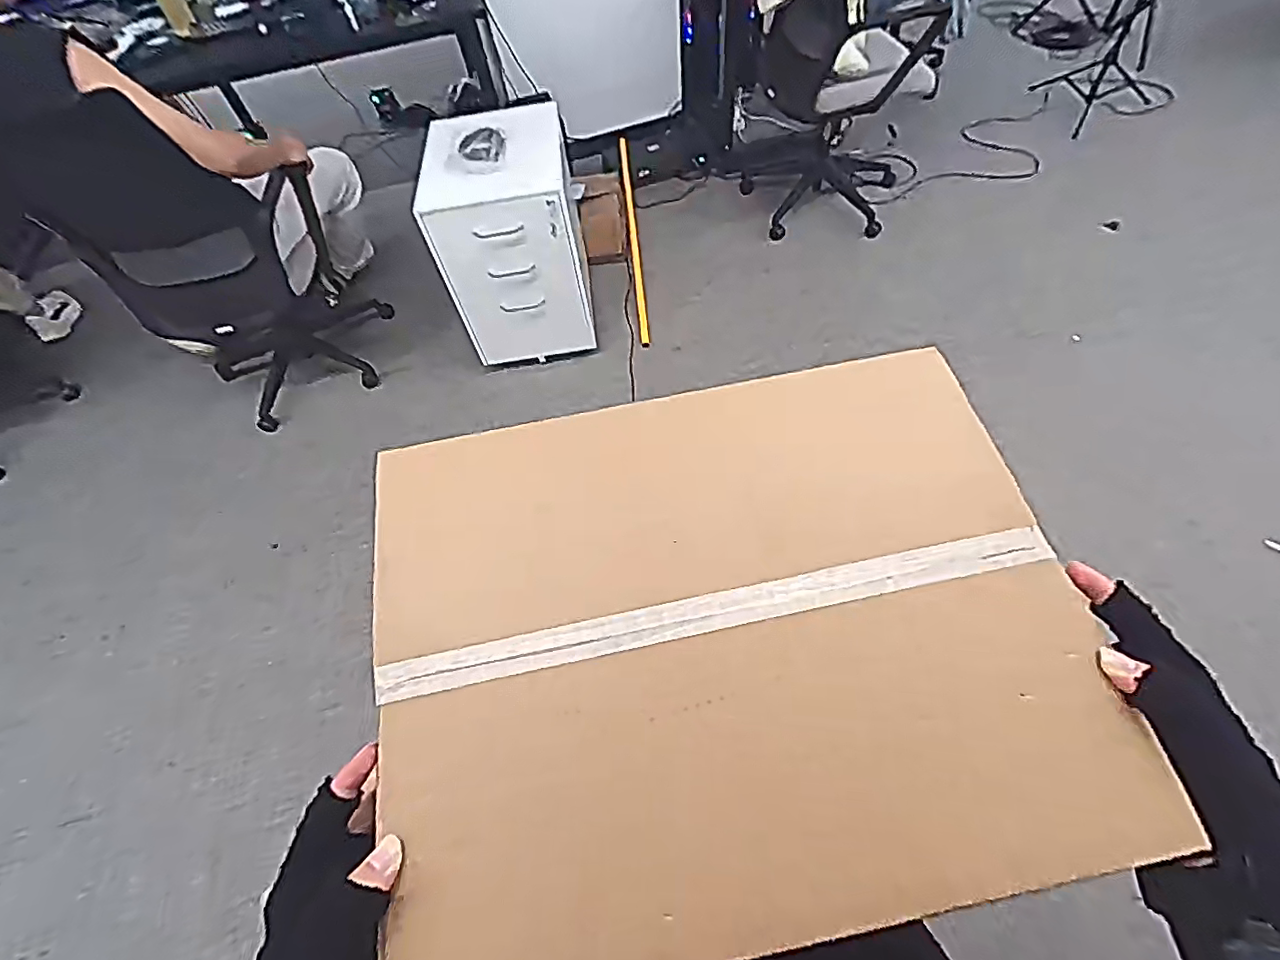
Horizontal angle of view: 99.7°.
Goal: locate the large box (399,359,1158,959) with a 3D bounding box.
[{"bbox_3d":[0.055,0.147,0.470,0.408,0.320,0.320,-12,65,-3],"label":"large box"}]
